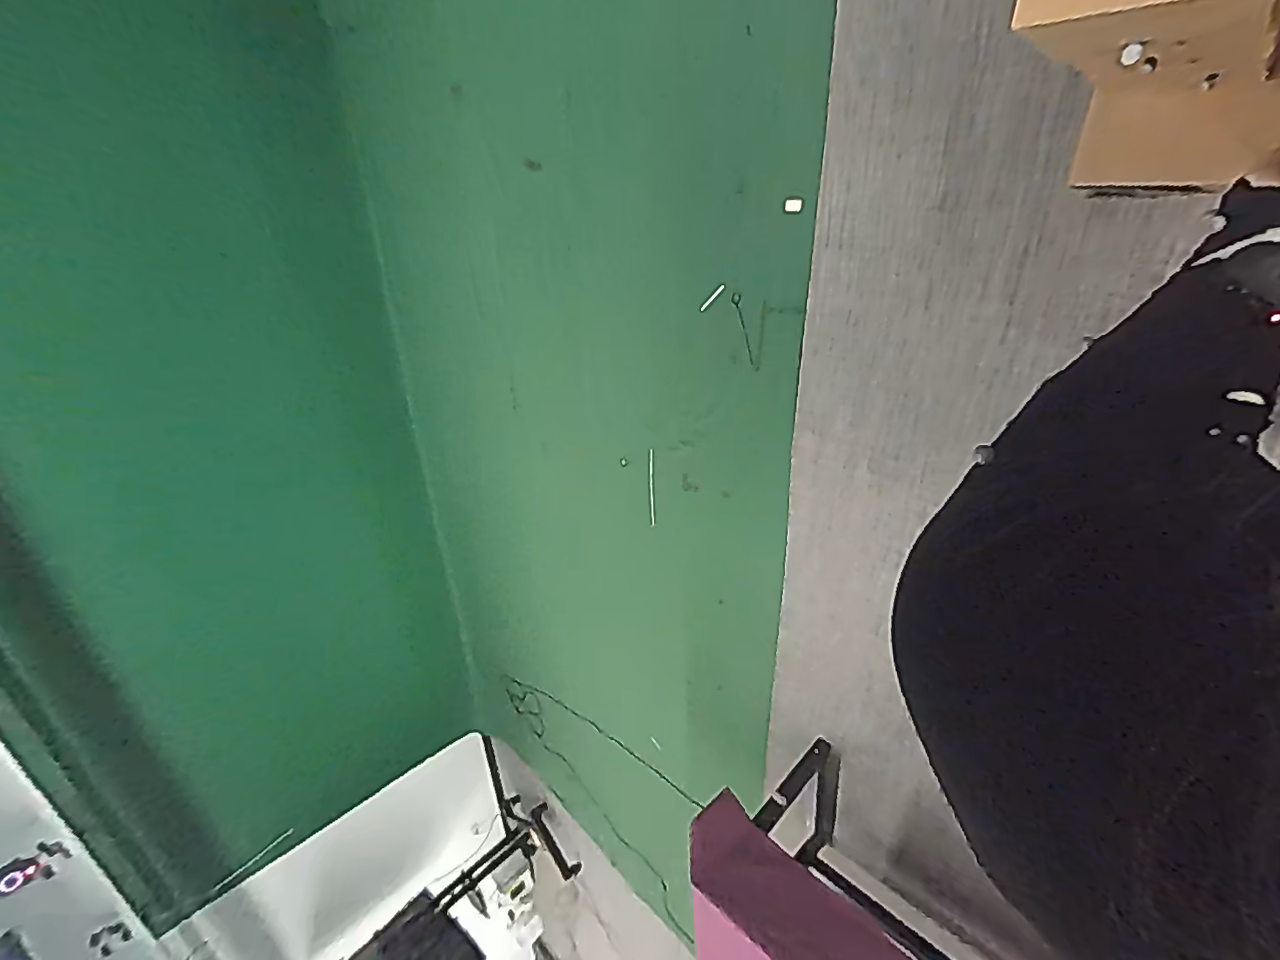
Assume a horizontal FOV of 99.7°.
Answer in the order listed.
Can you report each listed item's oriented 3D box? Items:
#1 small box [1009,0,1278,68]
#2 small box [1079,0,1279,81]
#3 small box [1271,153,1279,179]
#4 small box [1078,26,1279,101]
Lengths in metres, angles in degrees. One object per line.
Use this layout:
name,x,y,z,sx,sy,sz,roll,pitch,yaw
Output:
small box,0.446,-0.472,0.447,0.168,0.176,0.179,26,126,39
small box,0.563,-0.531,0.545,0.168,0.176,0.179,26,126,39
small box,0.576,-0.286,0.348,0.179,0.176,0.168,26,131,38
small box,0.677,-0.576,0.653,0.168,0.176,0.179,26,124,39
